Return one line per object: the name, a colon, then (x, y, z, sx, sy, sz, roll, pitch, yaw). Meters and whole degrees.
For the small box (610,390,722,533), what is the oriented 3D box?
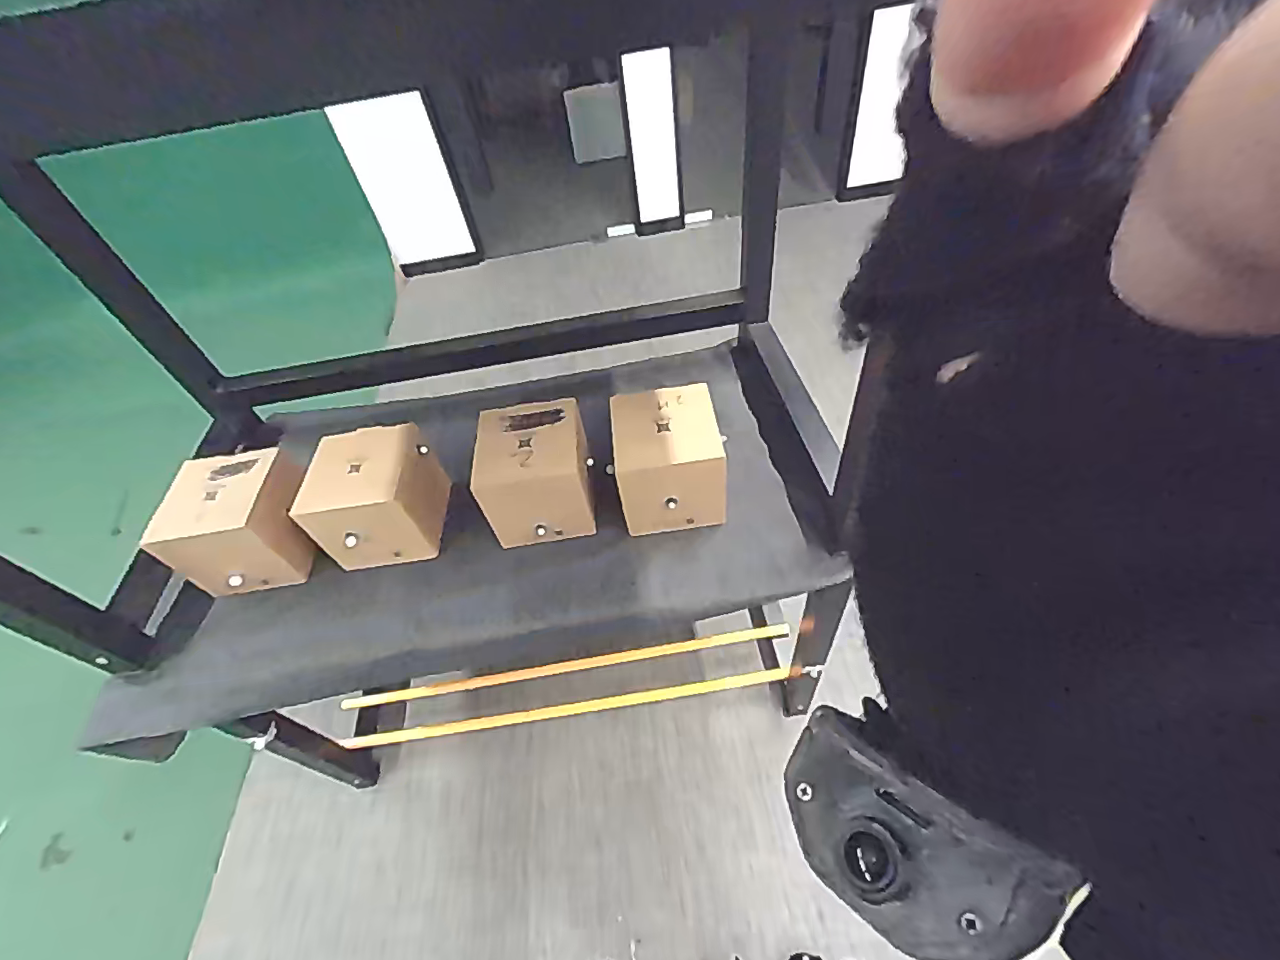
small box: (0.045, -0.025, 0.916, 0.168, 0.176, 0.179, -8, 48, 1)

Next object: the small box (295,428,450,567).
small box: (-0.447, 0.038, 0.940, 0.168, 0.176, 0.179, -8, 48, 1)

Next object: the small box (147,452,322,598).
small box: (-0.671, 0.078, 0.934, 0.168, 0.176, 0.179, -9, 49, 0)
